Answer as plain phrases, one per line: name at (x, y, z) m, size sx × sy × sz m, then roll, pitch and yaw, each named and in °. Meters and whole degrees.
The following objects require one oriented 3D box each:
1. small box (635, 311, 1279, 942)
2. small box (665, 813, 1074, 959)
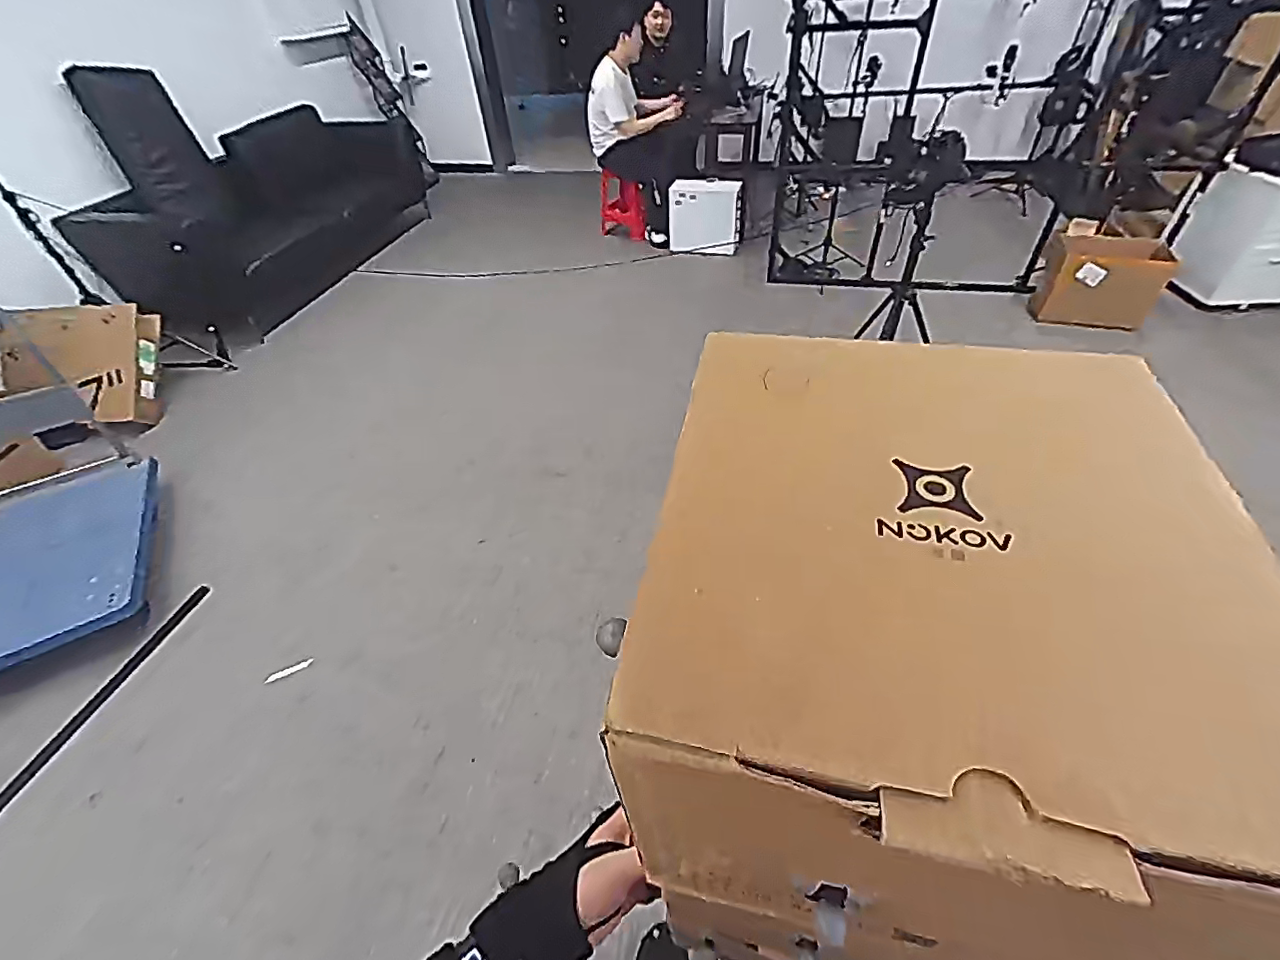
small box at (0.100, 0.053, 0.222) m, size 0.168 × 0.176 × 0.179 m, roll 6°, pitch 47°, yaw 12°
small box at (0.116, 0.168, 0.337) m, size 0.168 × 0.176 × 0.179 m, roll 7°, pitch 46°, yaw 12°
